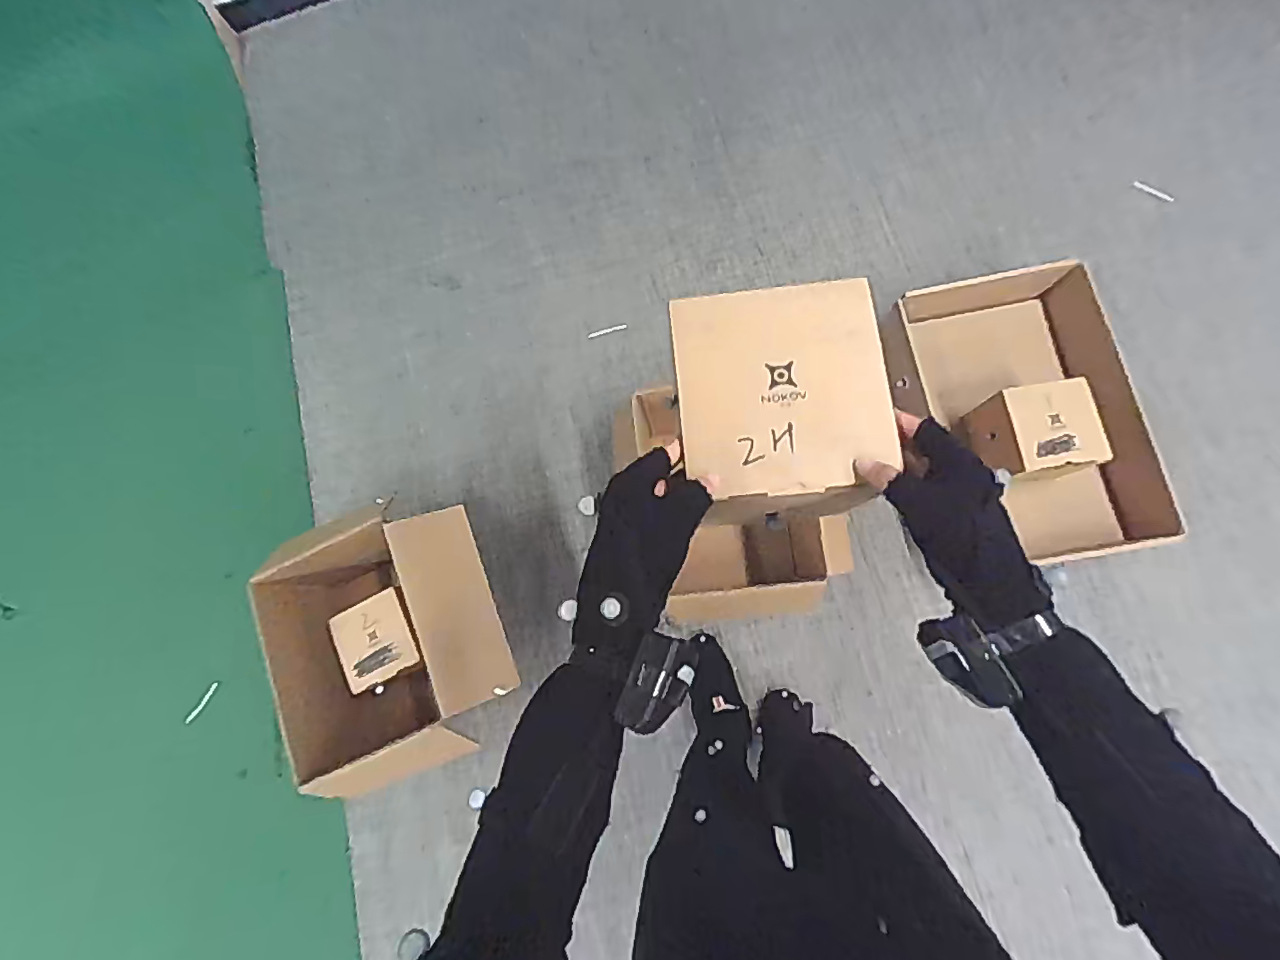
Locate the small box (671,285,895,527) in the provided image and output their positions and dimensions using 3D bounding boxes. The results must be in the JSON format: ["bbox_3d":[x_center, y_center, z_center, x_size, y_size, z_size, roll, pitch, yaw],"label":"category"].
[{"bbox_3d":[0.116,-0.058,0.517,0.168,0.176,0.179,-5,77,4],"label":"small box"}]

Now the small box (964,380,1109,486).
[{"bbox_3d":[0.827,-0.090,1.147,0.168,0.176,0.179,-8,76,4],"label":"small box"}]
